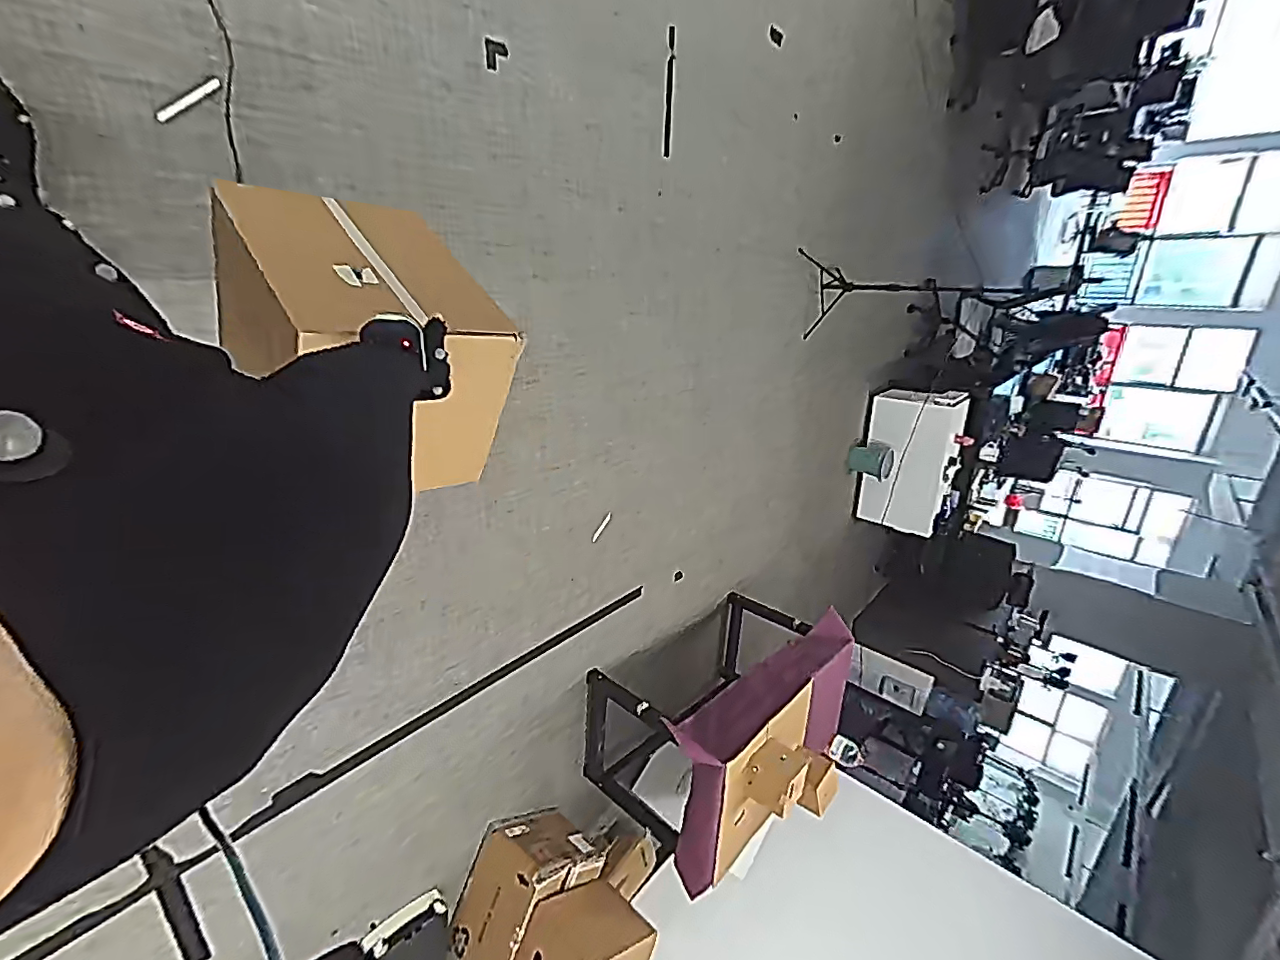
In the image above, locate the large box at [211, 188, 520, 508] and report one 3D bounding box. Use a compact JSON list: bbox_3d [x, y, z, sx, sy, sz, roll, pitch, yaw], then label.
[{"bbox_3d":[-0.474,-0.219,0.911,0.320,0.408,0.320,-15,144,-45],"label":"large box"}]
